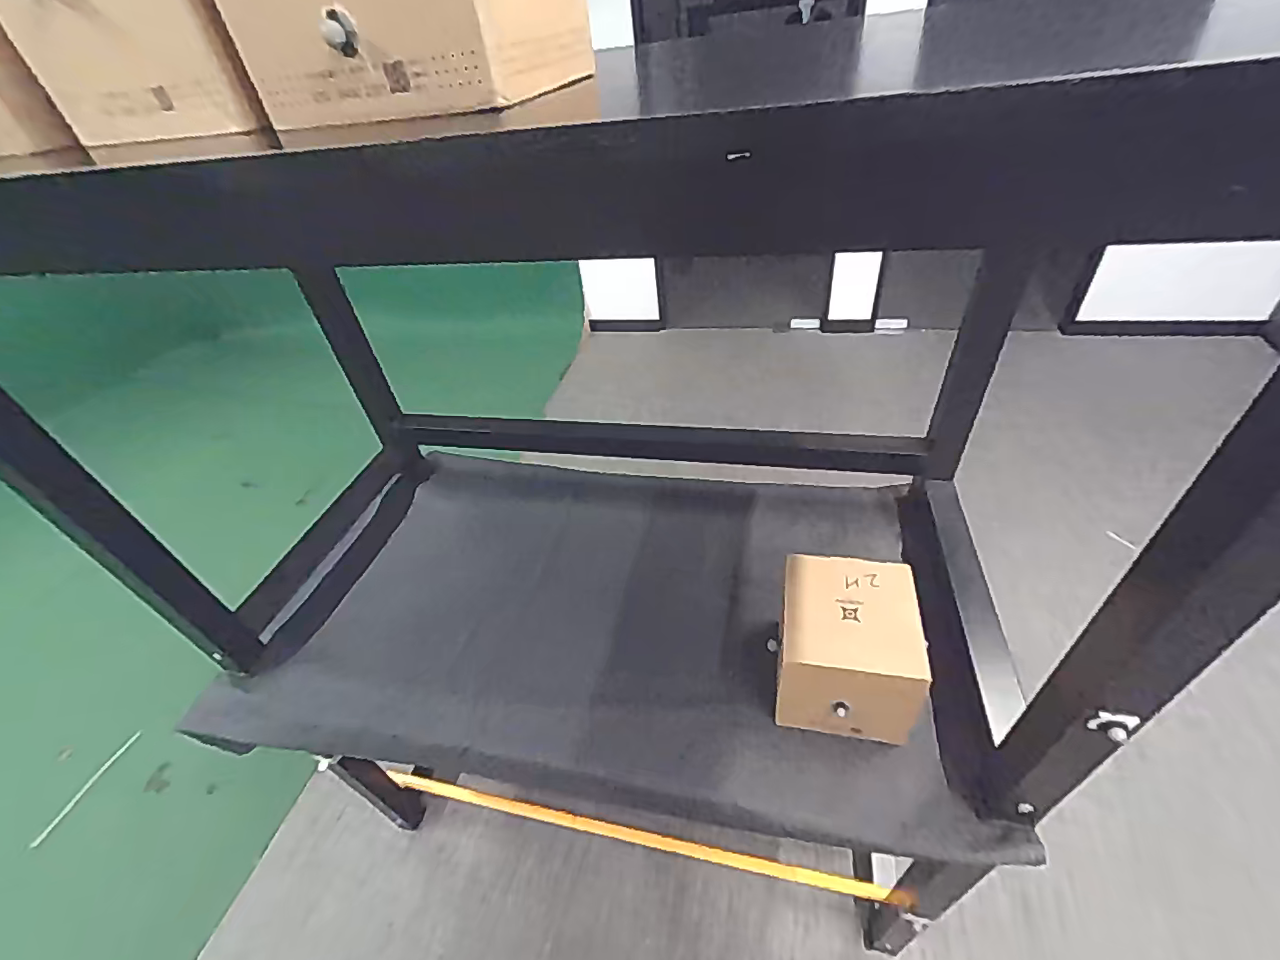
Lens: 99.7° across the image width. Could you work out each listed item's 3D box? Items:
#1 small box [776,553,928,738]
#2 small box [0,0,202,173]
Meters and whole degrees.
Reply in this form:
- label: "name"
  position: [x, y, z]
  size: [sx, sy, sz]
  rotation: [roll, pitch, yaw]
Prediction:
- label: "small box"
  position: [0.279, 0.227, 0.746]
  size: [0.168, 0.176, 0.179]
  rotation: [4, 41, 14]
- label: "small box"
  position: [-0.518, -0.365, 0.443]
  size: [0.168, 0.176, 0.179]
  rotation: [5, 43, 15]
